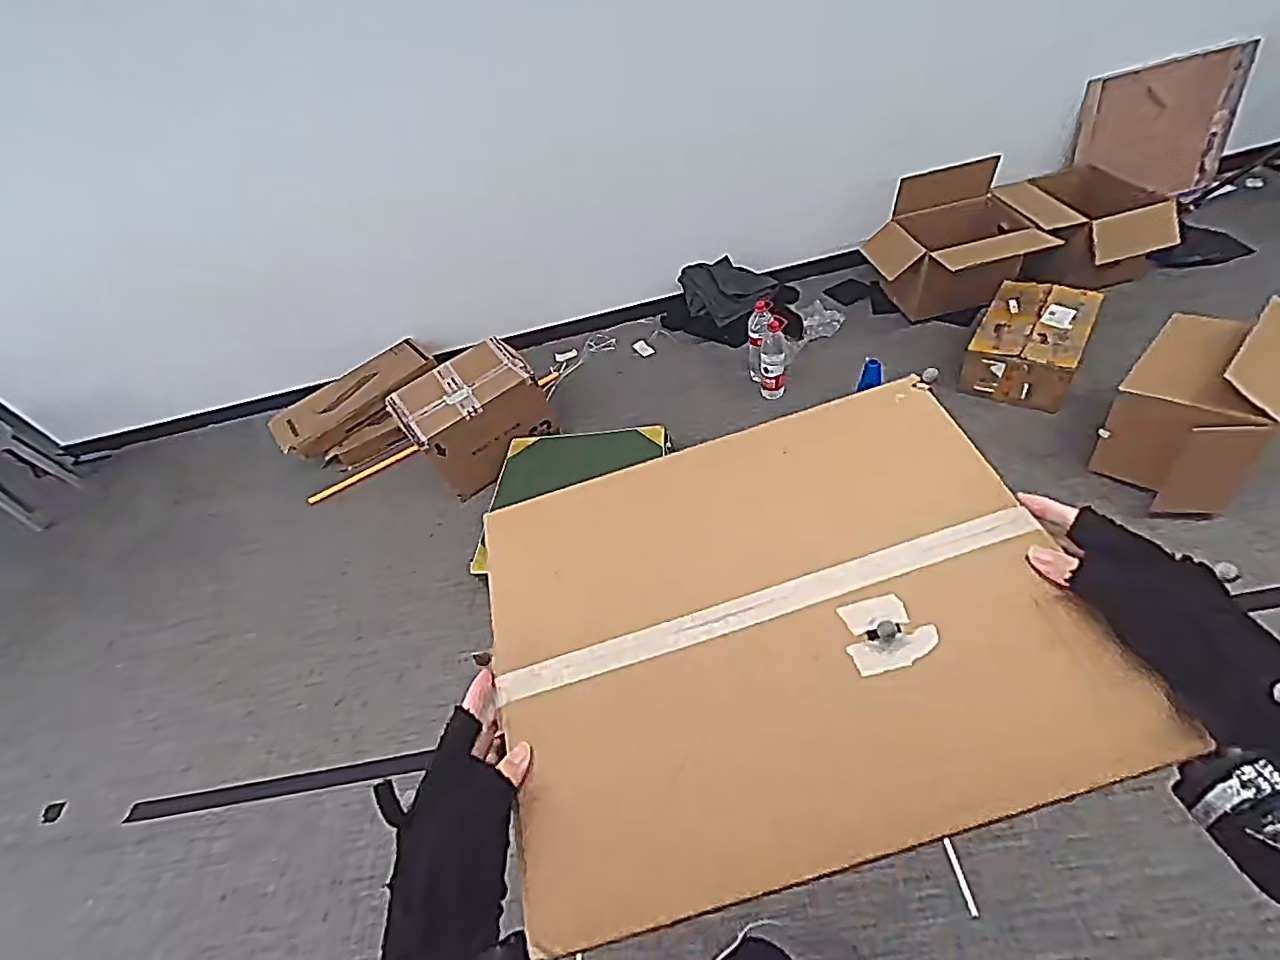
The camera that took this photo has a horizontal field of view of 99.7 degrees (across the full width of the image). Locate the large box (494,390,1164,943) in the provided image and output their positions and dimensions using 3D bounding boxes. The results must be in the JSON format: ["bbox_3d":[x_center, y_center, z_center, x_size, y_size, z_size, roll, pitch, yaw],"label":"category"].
[{"bbox_3d":[0.117,0.178,0.529,0.408,0.320,0.320,-18,56,0],"label":"large box"}]
